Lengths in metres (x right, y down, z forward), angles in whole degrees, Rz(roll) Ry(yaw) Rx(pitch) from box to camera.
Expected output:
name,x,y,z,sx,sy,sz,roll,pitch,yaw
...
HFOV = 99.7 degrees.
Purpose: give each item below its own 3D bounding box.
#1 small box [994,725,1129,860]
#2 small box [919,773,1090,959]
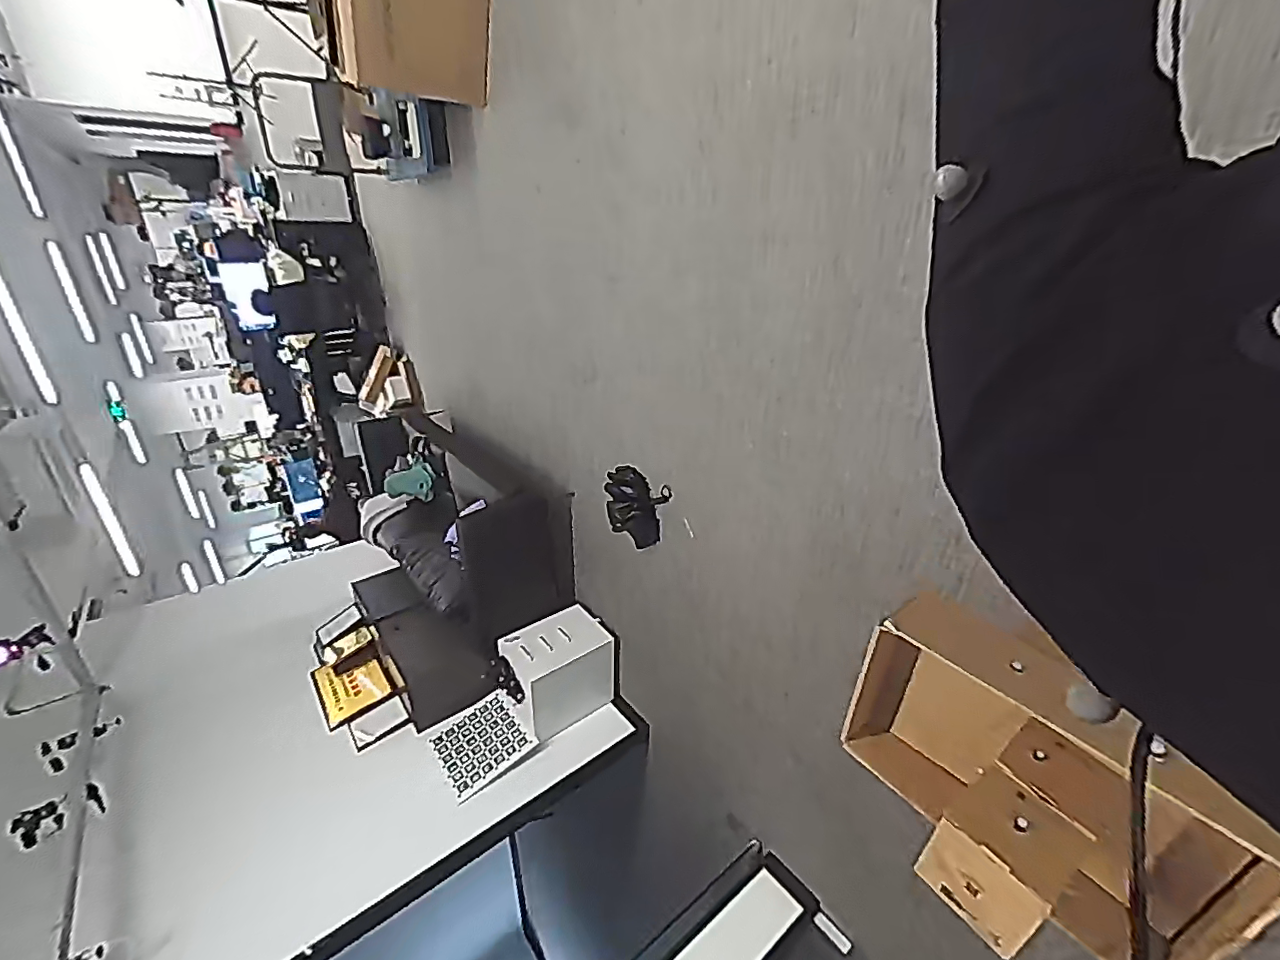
name,x,y,z,sx,sy,sz,roll,pitch,yaw
small box,0.753,0.596,1.000,0.168,0.176,0.179,37,135,44
small box,0.618,0.646,0.919,0.168,0.176,0.179,37,132,45
